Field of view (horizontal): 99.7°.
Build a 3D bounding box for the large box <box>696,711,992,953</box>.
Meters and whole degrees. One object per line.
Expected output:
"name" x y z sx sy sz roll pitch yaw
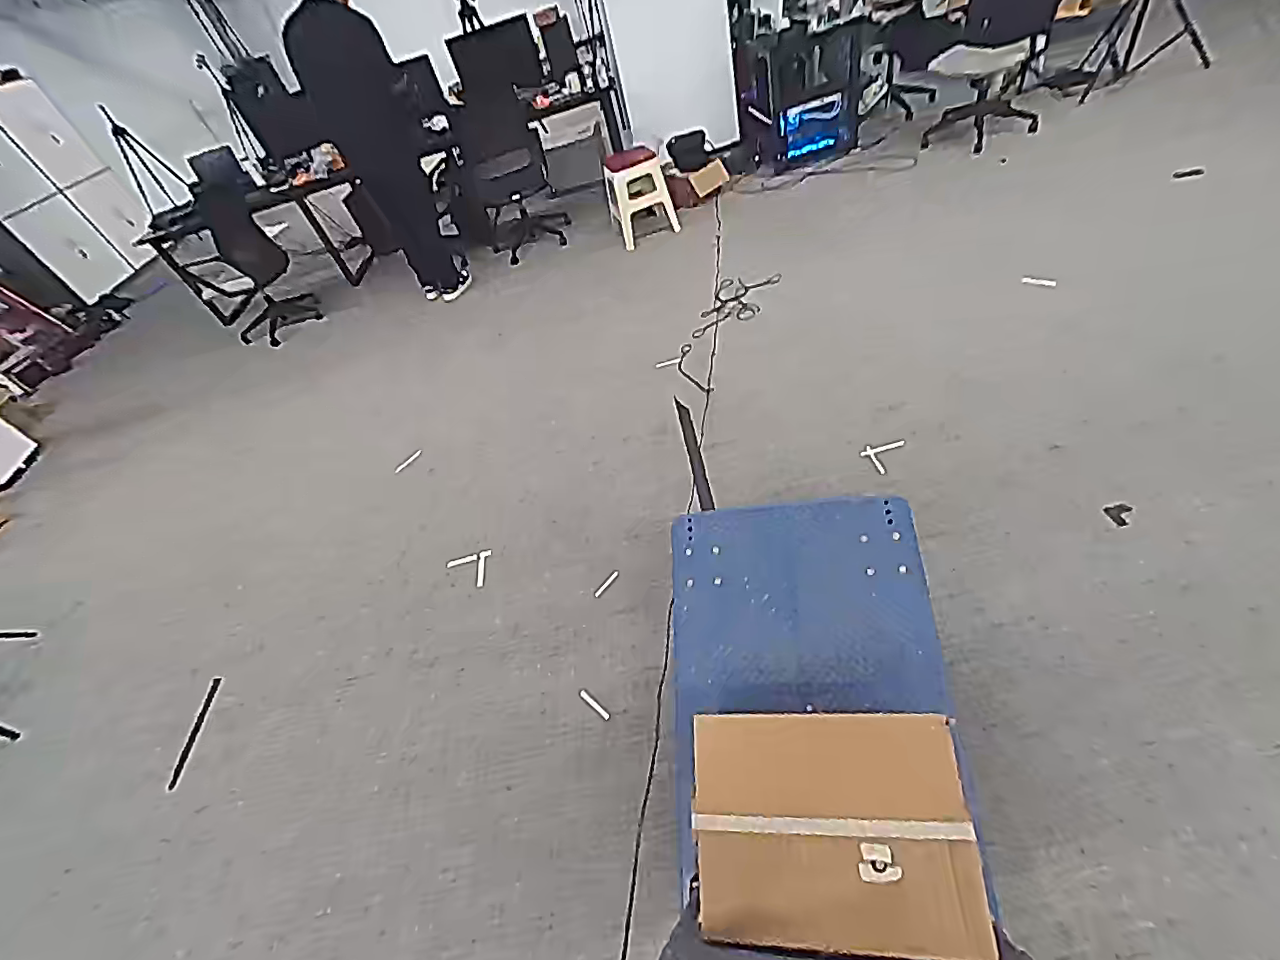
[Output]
"large box" 0.327 0.595 0.978 0.408 0.320 0.320 -6 66 13
